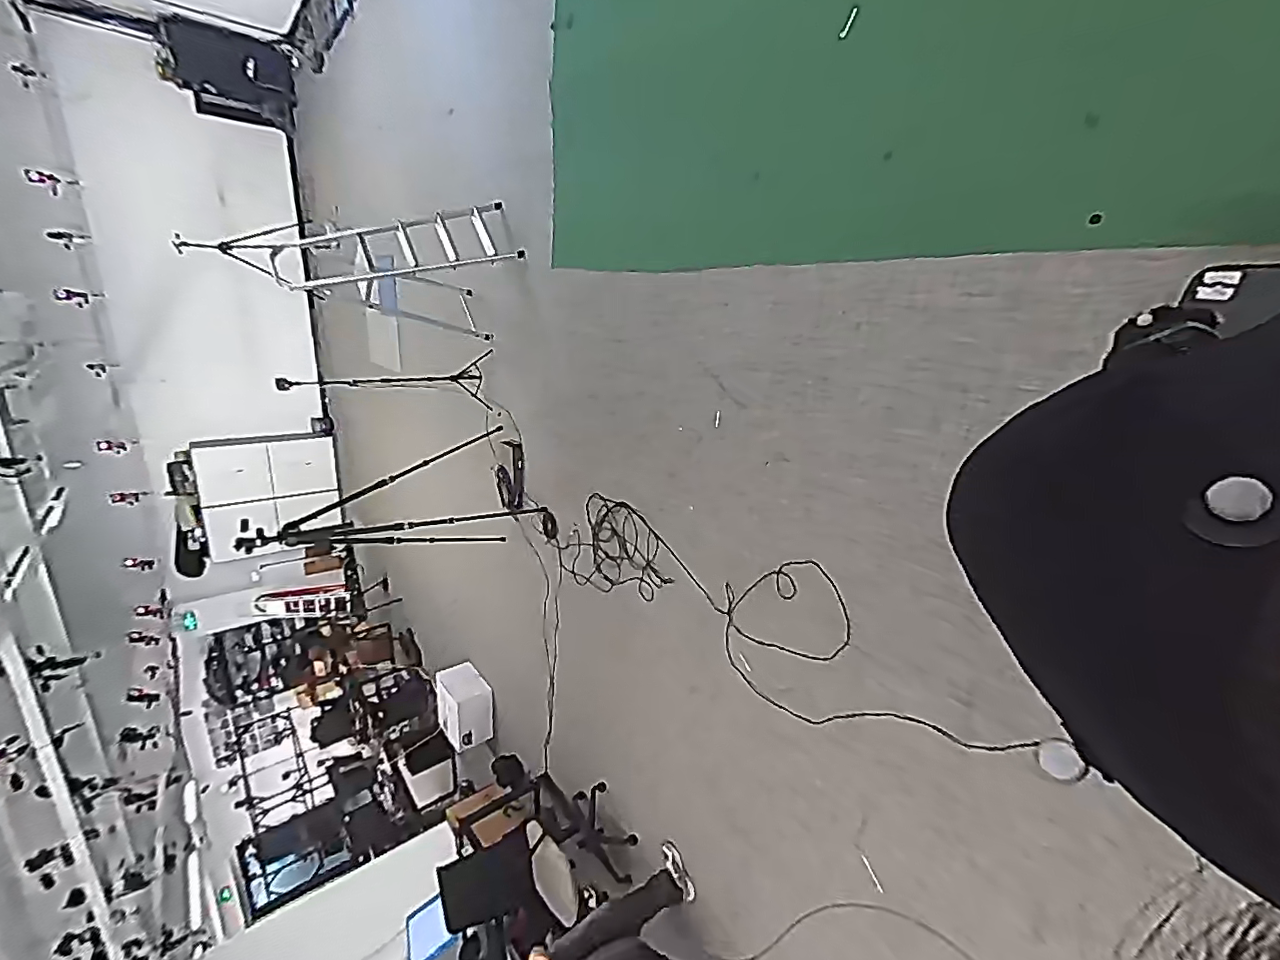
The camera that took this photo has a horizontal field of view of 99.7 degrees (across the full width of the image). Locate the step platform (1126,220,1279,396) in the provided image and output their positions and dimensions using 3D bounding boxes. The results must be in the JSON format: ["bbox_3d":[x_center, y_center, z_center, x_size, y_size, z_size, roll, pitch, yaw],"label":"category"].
[{"bbox_3d":[1.180,-0.237,0.780,0.684,0.204,0.286,21,116,48],"label":"step platform"}]
